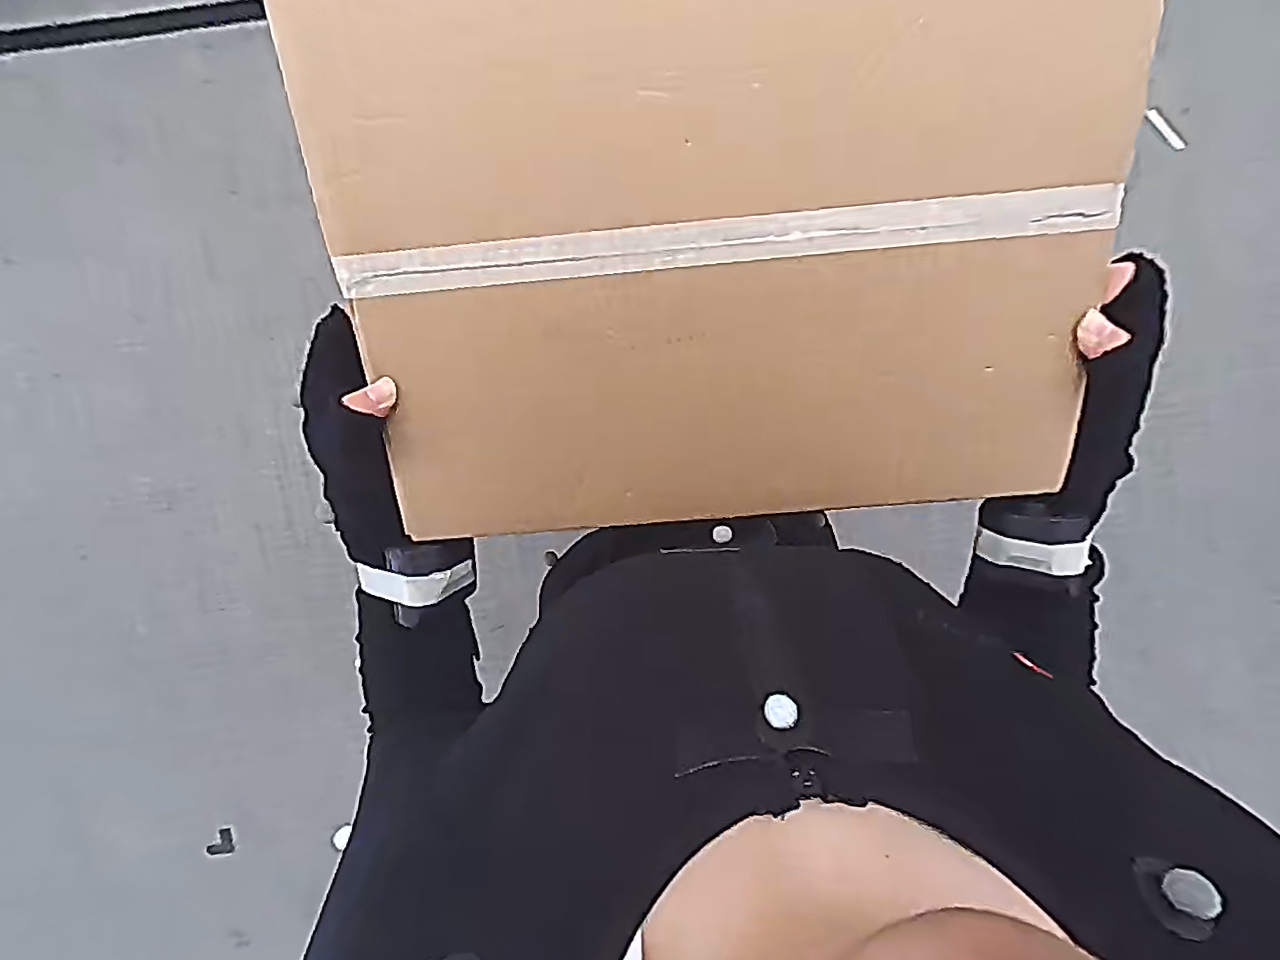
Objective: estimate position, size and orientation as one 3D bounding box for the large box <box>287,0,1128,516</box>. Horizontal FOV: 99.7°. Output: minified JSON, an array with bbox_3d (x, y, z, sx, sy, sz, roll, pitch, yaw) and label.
[{"bbox_3d":[0.038,-0.189,0.430,0.408,0.320,0.320,-5,112,1],"label":"large box"}]
